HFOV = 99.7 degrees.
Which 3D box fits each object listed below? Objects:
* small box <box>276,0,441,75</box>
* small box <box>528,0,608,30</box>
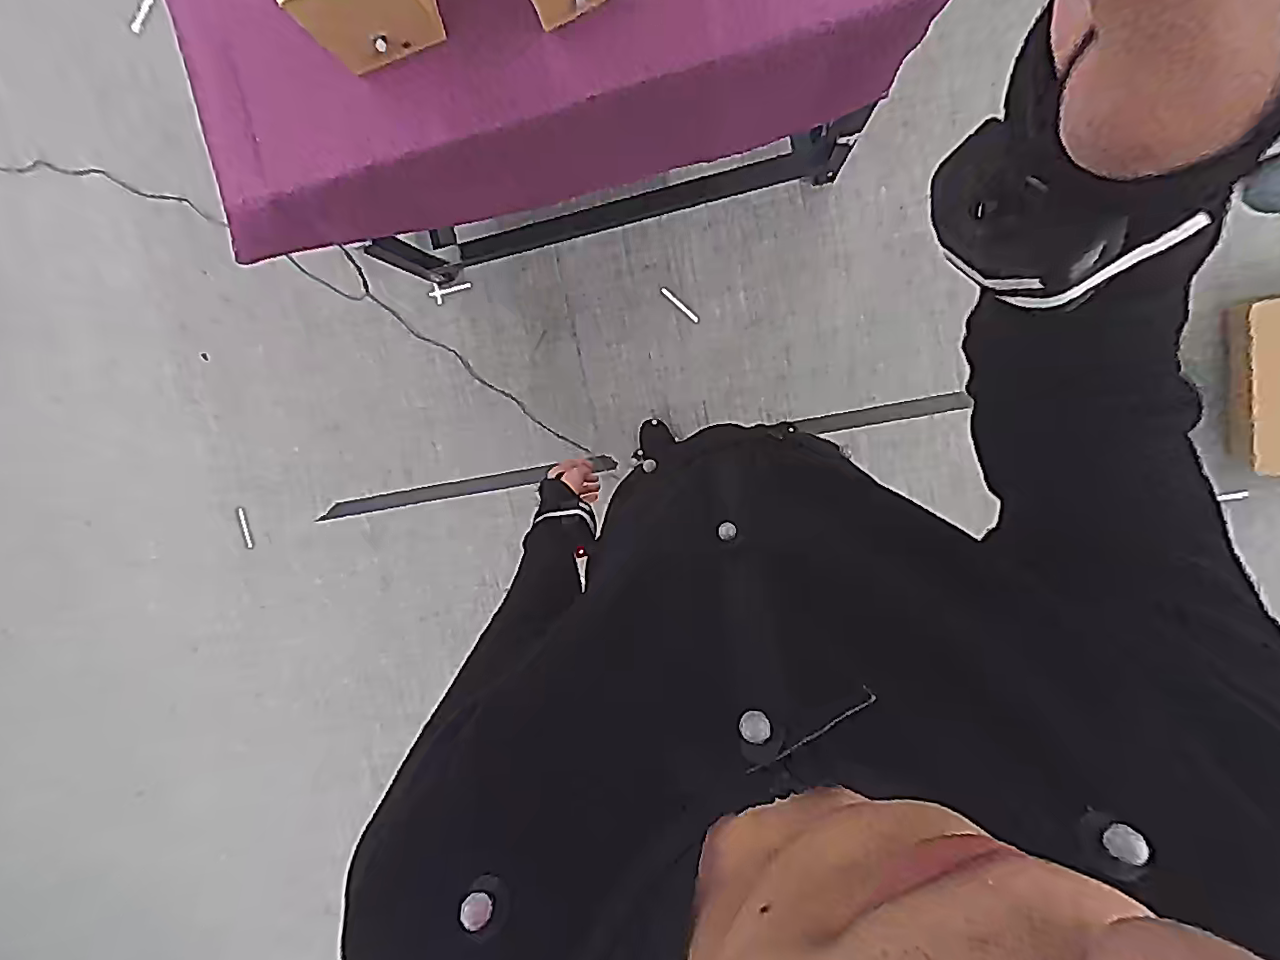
[{"bbox_3d":[-0.417,-0.740,0.773,0.168,0.176,0.179,-15,97,9],"label":"small box"},{"bbox_3d":[-0.116,-0.781,0.731,0.168,0.176,0.179,-22,95,10],"label":"small box"}]
